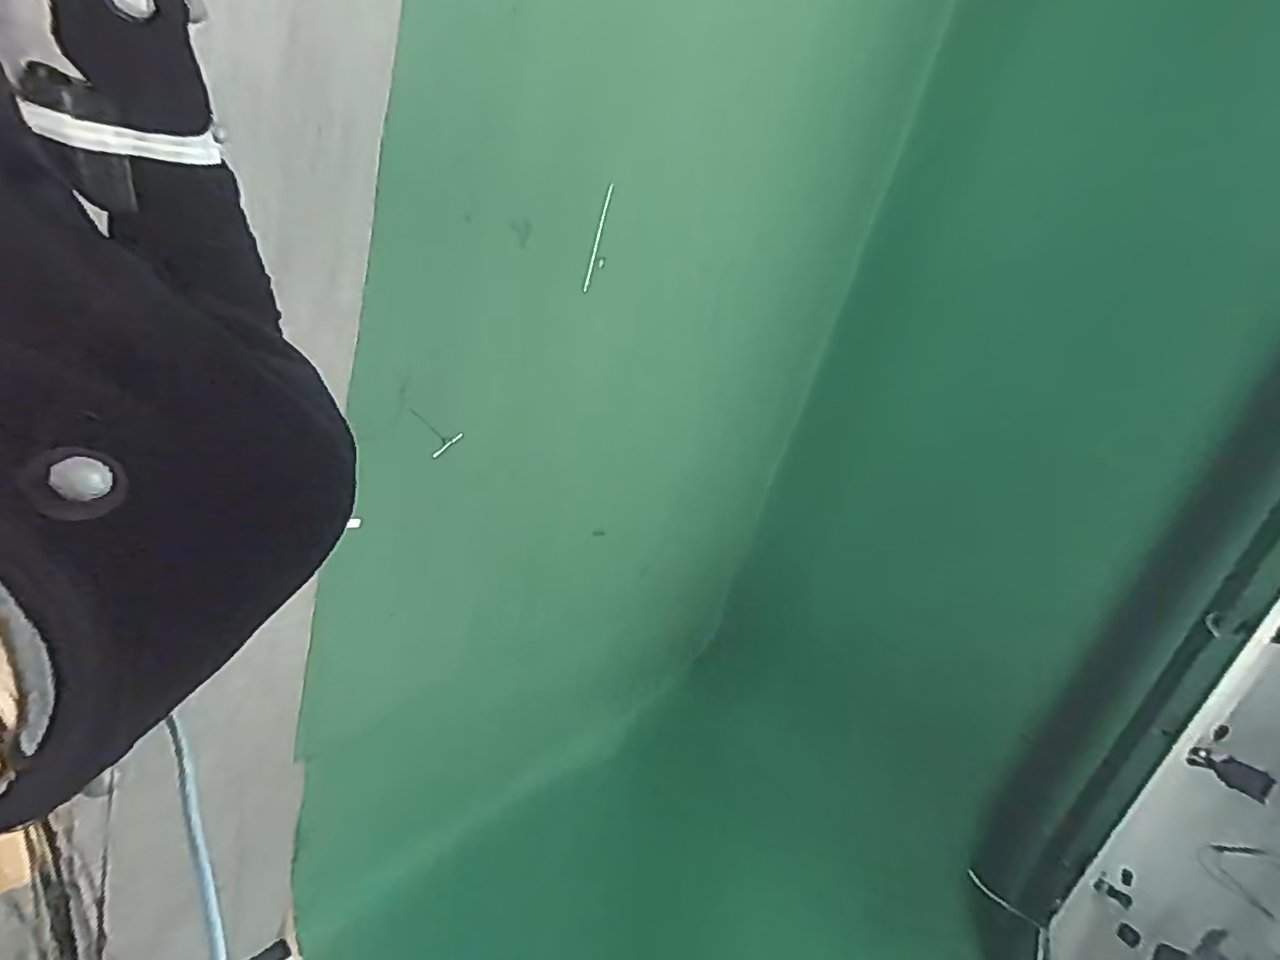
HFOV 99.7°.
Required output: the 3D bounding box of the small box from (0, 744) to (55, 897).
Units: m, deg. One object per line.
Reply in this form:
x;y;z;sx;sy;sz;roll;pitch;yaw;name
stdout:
-1.119;0.588;0.902;0.179;0.176;0.168;-7;119;-53;small box
